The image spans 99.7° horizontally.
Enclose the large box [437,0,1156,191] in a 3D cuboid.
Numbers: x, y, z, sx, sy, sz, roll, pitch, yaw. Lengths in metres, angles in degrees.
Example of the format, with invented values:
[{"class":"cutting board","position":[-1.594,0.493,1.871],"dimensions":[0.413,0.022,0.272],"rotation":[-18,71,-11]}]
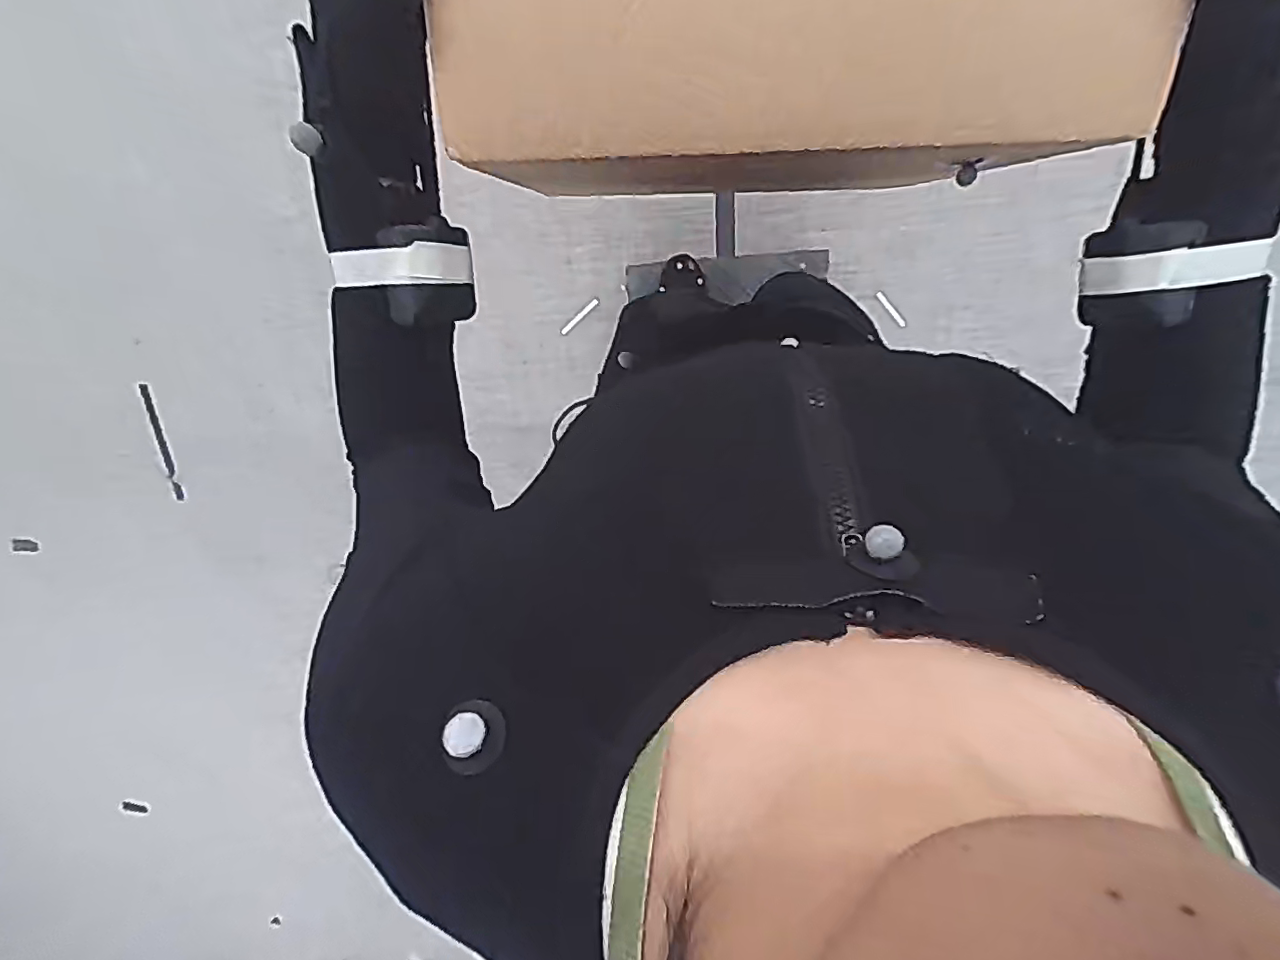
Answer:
[{"class":"large box","position":[0.086,-0.401,0.399],"dimensions":[0.408,0.320,0.320],"rotation":[-1,114,2]}]
